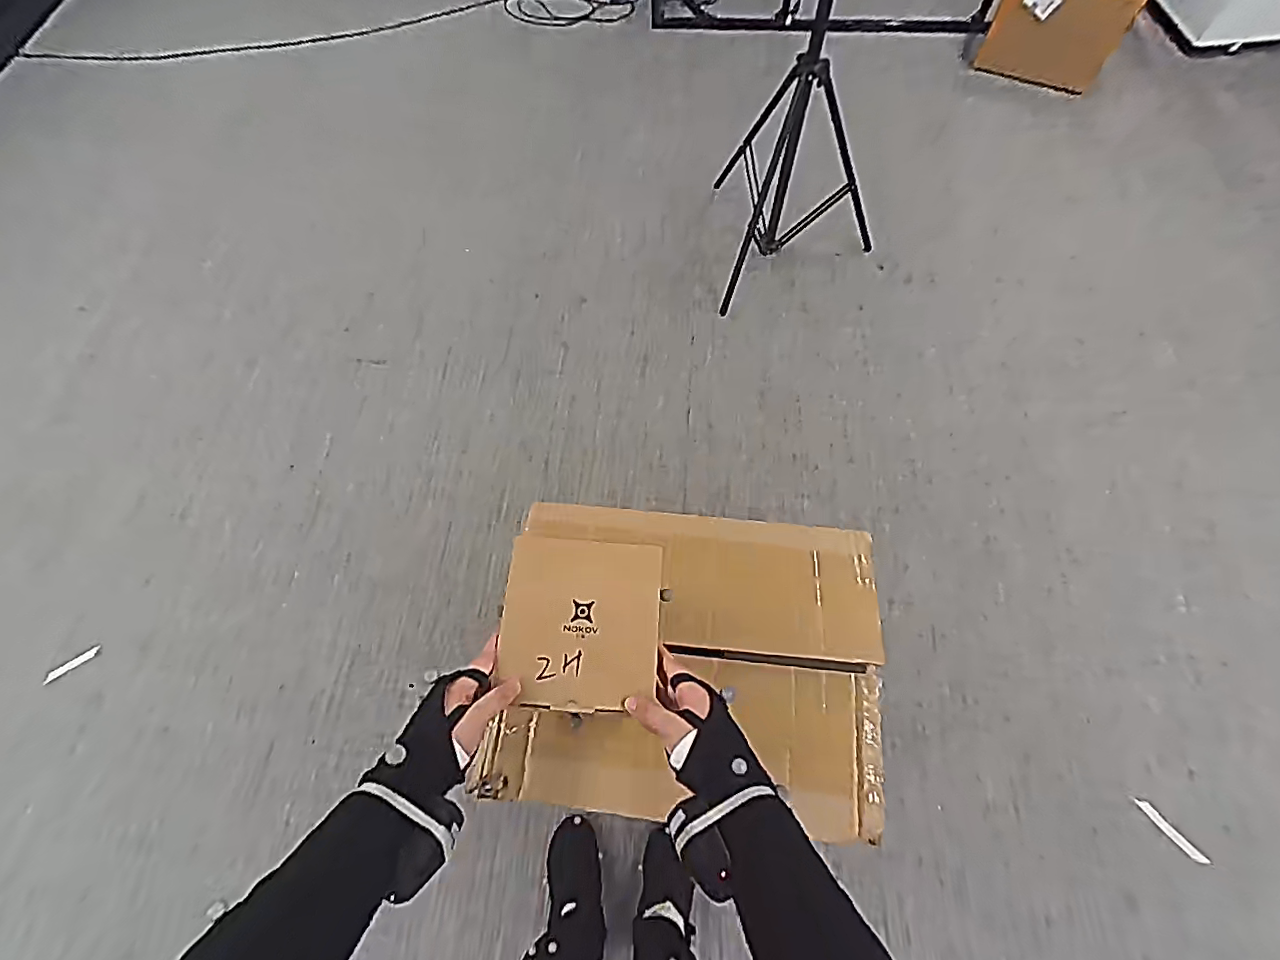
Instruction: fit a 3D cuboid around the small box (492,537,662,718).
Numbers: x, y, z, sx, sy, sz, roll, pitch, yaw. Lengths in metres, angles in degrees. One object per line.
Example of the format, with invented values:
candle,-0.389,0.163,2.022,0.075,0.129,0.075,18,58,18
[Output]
small box,-0.066,0.182,0.645,0.168,0.176,0.179,4,65,-1
